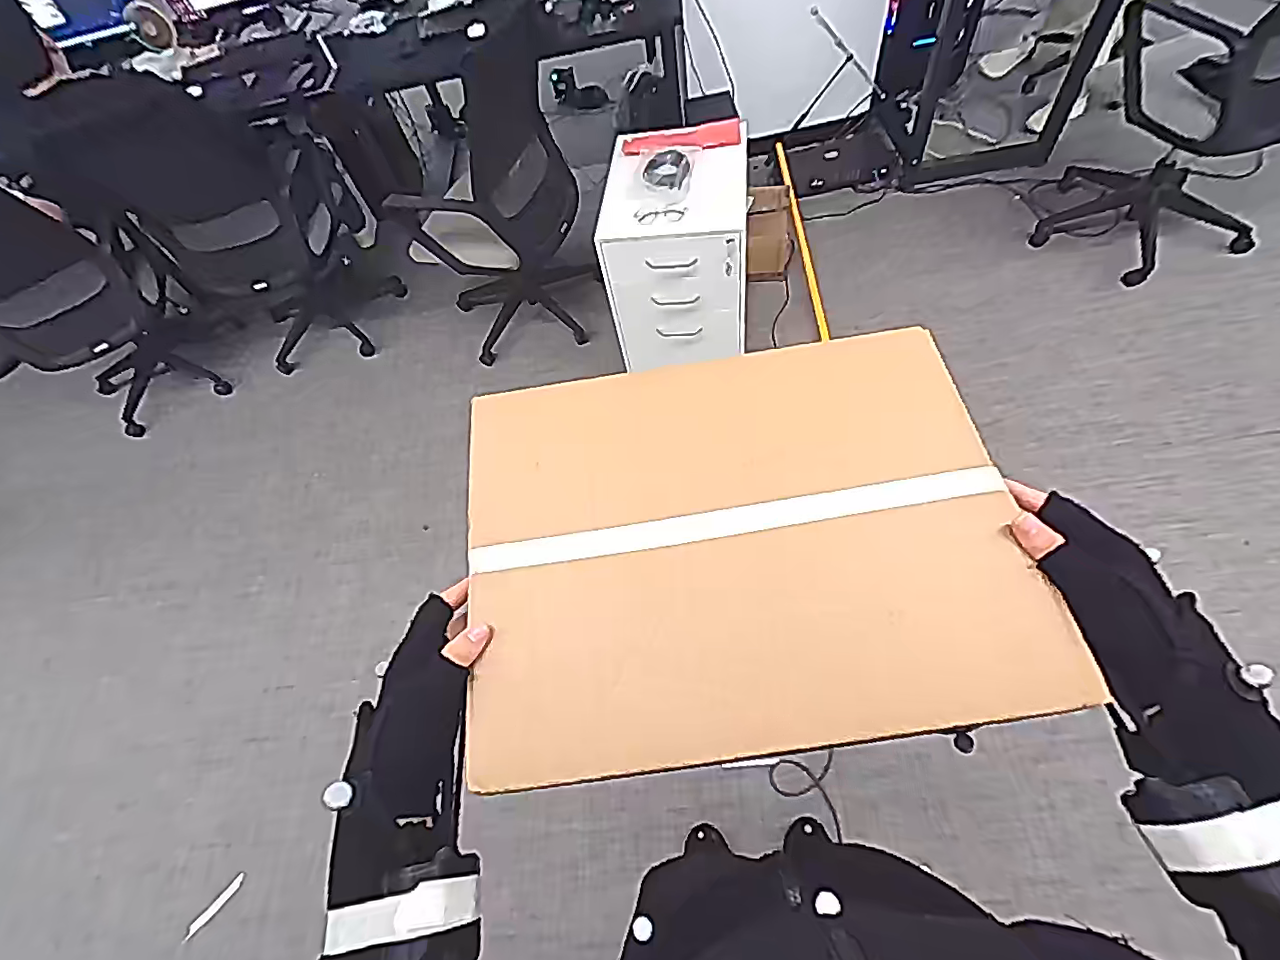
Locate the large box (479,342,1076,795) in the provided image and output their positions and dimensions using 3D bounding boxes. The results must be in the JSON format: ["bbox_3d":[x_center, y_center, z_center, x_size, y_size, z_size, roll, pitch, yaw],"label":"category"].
[{"bbox_3d":[0.084,0.106,0.552,0.408,0.320,0.320,-9,62,1],"label":"large box"}]
